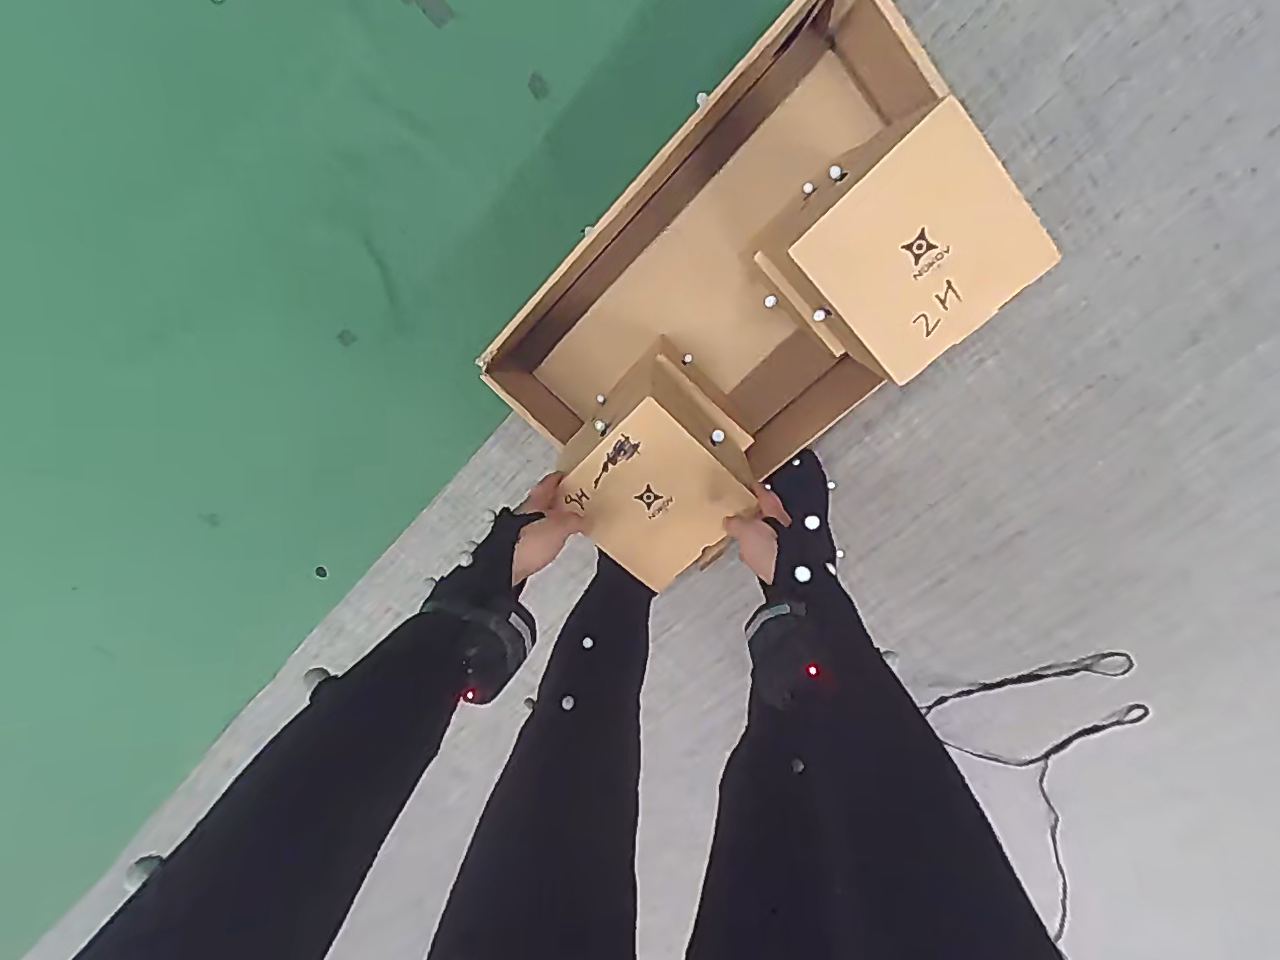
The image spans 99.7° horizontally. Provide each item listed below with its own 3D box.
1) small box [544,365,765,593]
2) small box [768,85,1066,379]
[{"bbox_3d":[0.017,-0.009,0.636,0.179,0.176,0.168,41,109,-17],"label":"small box"},{"bbox_3d":[0.250,-0.231,0.536,0.168,0.176,0.179,-41,106,19],"label":"small box"}]
